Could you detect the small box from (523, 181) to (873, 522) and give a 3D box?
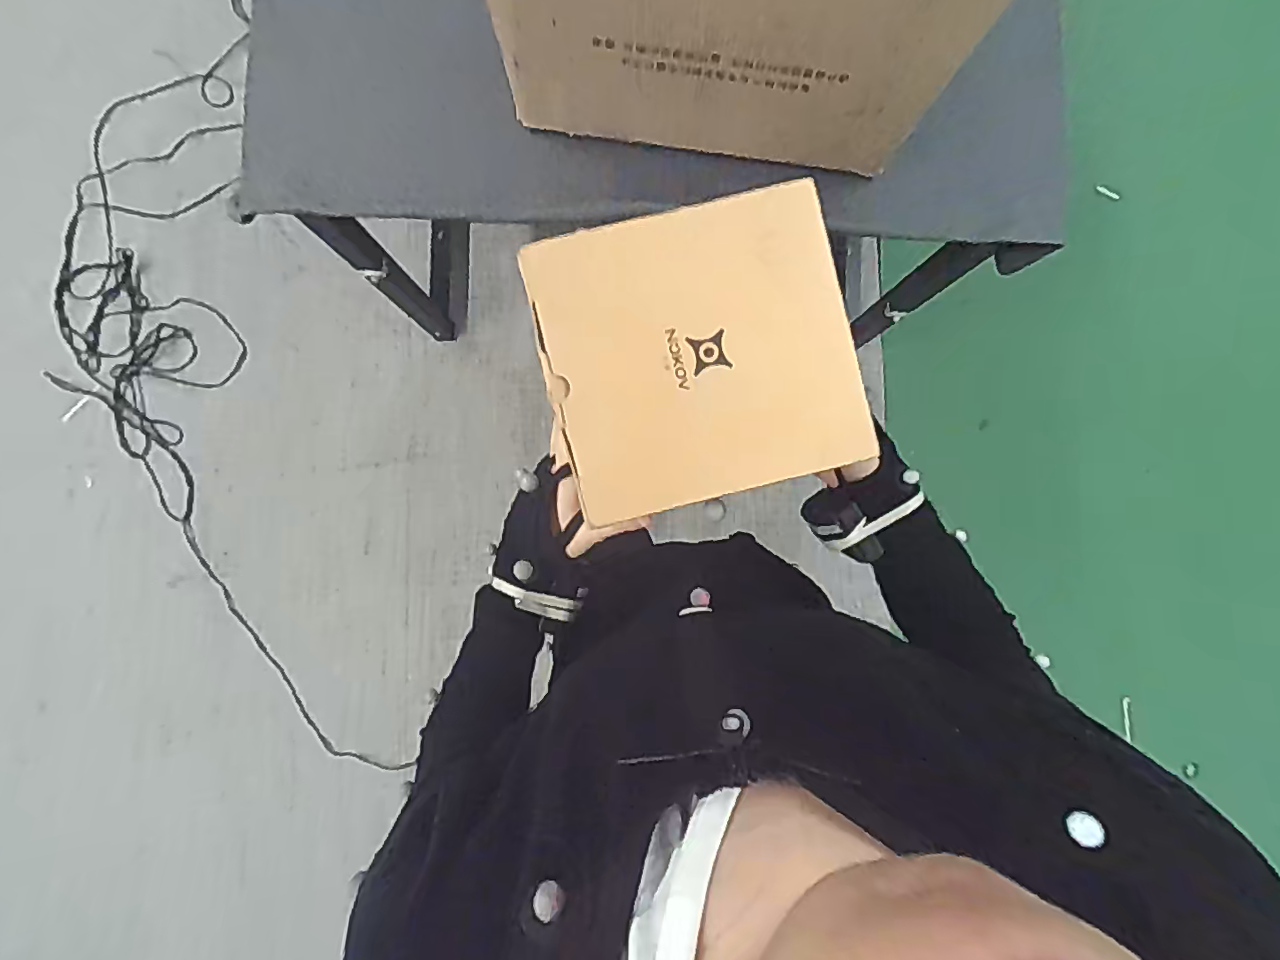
[{"bbox_3d":[0.032,-0.075,0.389,0.179,0.176,0.168,-14,91,-1],"label":"small box"}]
